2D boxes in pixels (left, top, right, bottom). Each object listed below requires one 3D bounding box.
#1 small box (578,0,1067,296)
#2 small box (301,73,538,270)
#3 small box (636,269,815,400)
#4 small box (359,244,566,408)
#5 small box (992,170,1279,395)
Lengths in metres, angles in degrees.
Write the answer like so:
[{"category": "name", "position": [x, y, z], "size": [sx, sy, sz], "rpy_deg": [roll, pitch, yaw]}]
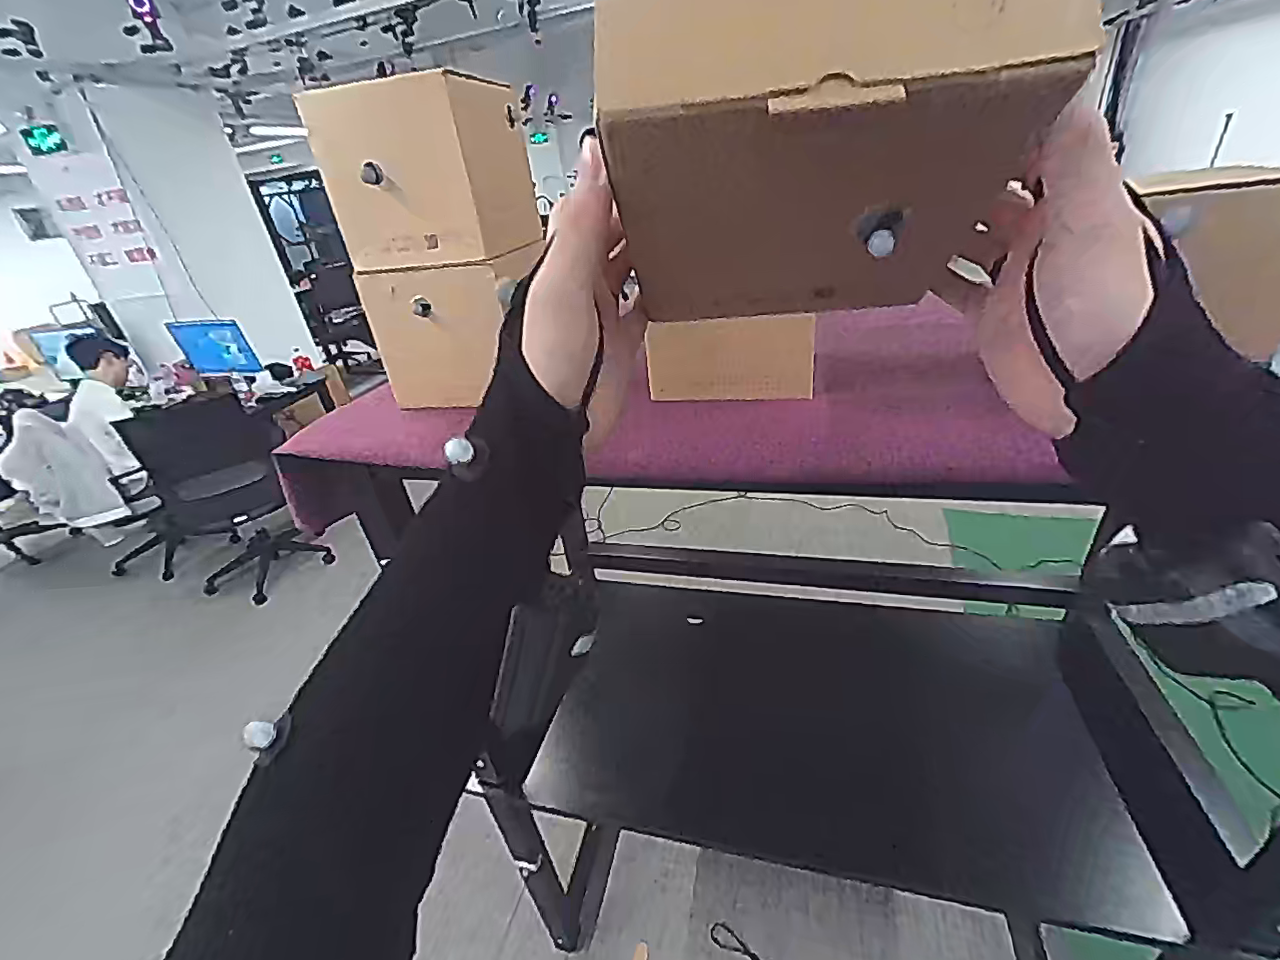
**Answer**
[{"category": "small box", "position": [0.071, -0.208, 0.277], "size": [0.168, 0.179, 0.176], "rpy_deg": [-1, -10, 8]}, {"category": "small box", "position": [-0.232, -0.342, 0.625], "size": [0.168, 0.176, 0.179], "rpy_deg": [0, 29, 13]}, {"category": "small box", "position": [0.107, -0.196, 0.616], "size": [0.179, 0.176, 0.168], "rpy_deg": [2, 30, 17]}, {"category": "small box", "position": [-0.213, -0.199, 0.701], "size": [0.179, 0.176, 0.168], "rpy_deg": [1, 31, 13]}, {"category": "small box", "position": [0.462, -0.183, 0.505], "size": [0.179, 0.176, 0.168], "rpy_deg": [2, 29, 17]}]
